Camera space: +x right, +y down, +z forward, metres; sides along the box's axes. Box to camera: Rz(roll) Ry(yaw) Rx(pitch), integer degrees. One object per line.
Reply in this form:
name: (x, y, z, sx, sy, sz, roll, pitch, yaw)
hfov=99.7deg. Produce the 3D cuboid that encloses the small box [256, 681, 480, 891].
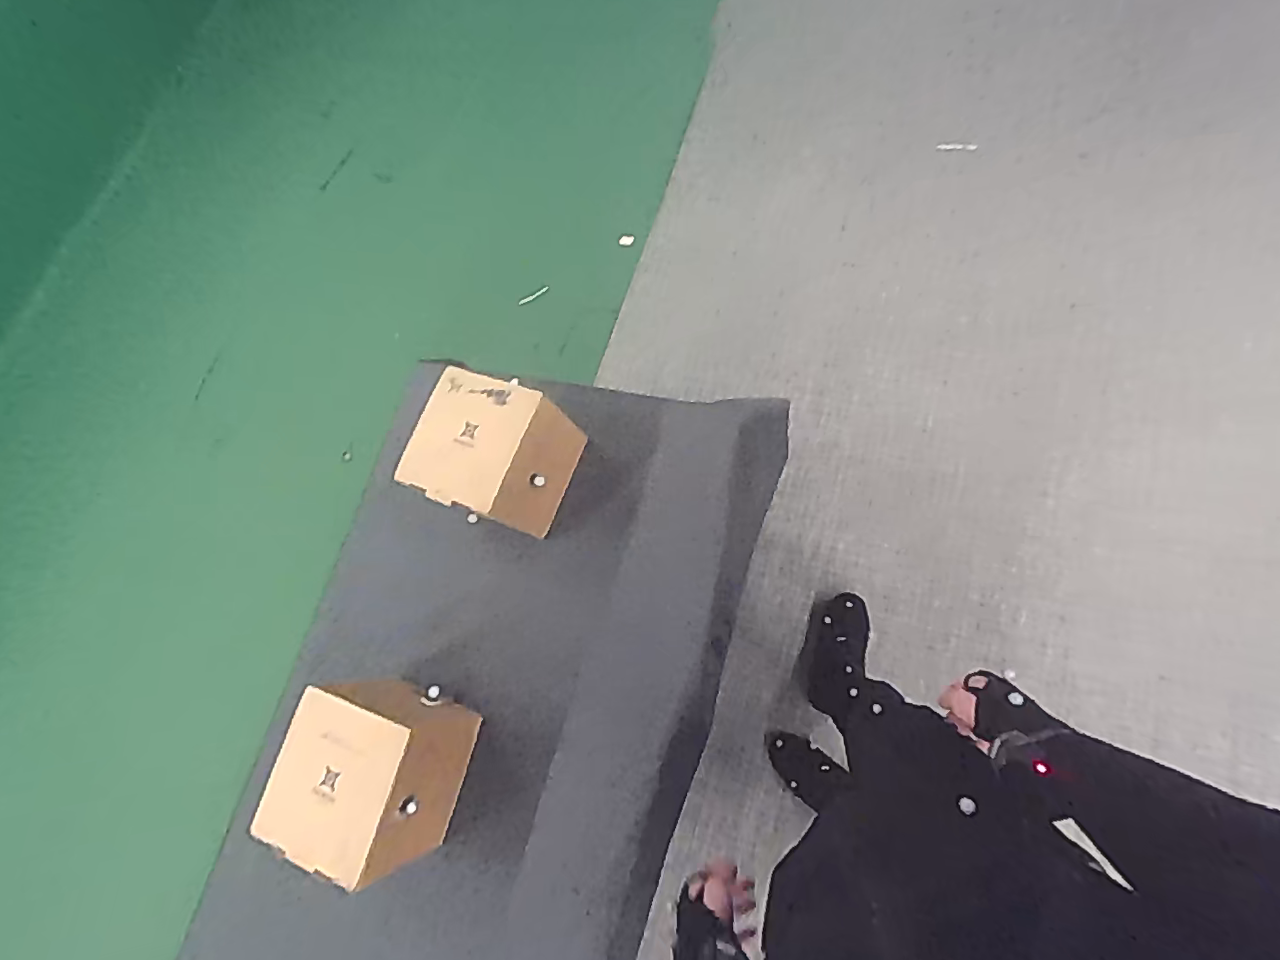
small box: (-0.338, 0.377, 0.707, 0.168, 0.176, 0.179, 12, 76, 18)

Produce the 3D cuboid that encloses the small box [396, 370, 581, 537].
small box: (-0.208, -0.030, 0.790, 0.168, 0.176, 0.179, 19, 80, 20)
